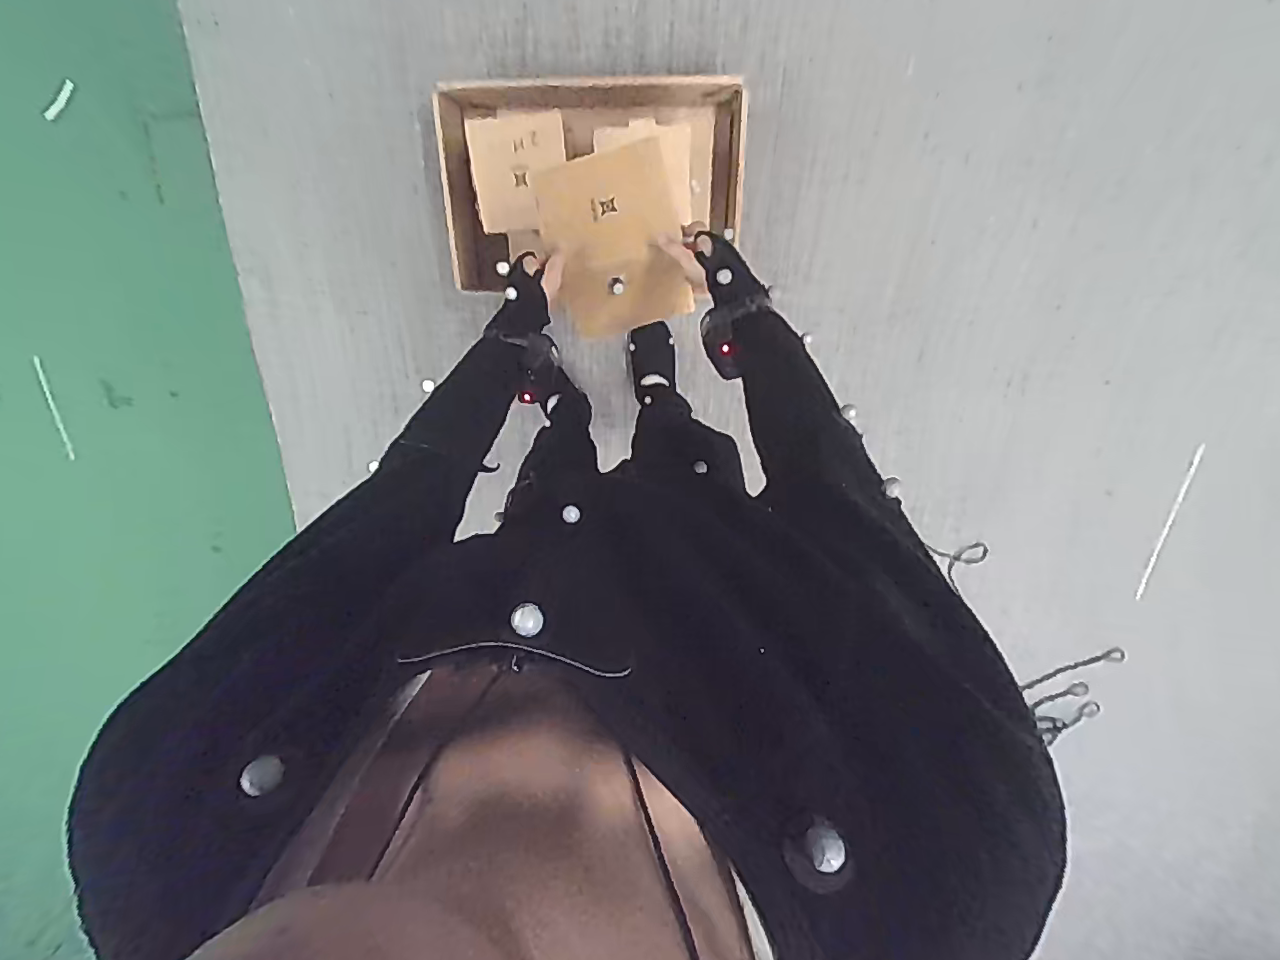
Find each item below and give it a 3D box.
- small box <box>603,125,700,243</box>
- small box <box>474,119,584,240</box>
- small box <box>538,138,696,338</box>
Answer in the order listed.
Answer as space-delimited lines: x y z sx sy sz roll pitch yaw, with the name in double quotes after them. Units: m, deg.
0.027 -0.535 1.005 0.168 0.176 0.179 0 112 7 "small box"
-0.191 -0.555 1.017 0.168 0.176 0.179 -4 114 4 "small box"
-0.022 -0.326 0.761 0.179 0.176 0.168 -13 76 10 "small box"
